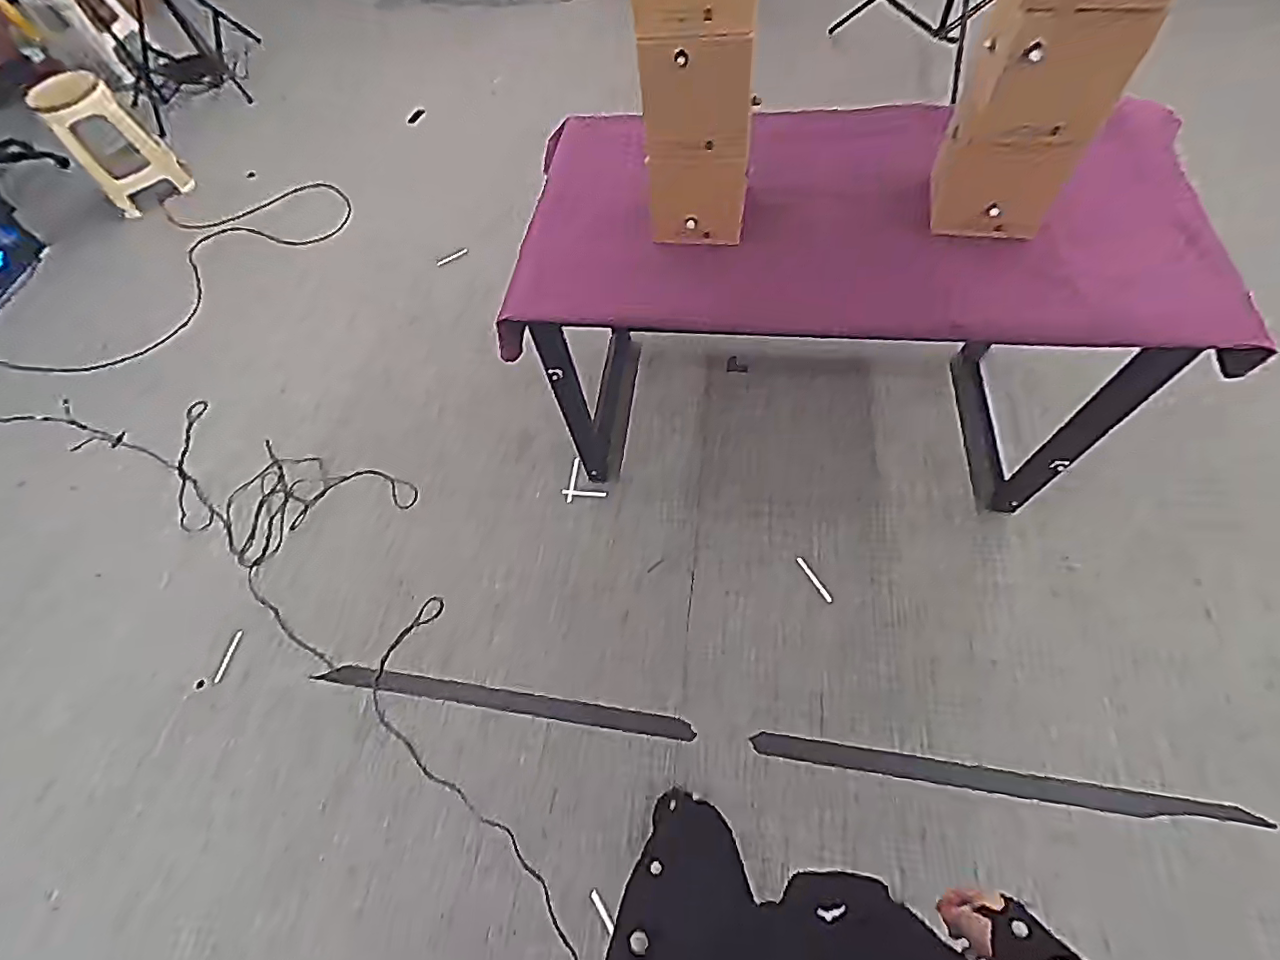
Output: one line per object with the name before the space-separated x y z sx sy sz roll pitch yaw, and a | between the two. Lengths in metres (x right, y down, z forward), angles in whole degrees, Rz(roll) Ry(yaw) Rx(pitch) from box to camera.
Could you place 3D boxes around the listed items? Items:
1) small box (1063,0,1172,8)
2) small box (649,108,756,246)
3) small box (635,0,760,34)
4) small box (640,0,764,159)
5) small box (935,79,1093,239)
small box | 0.577 -0.689 0.630 0.168 0.176 0.179 12 63 12
small box | 0.116 -0.560 0.991 0.168 0.176 0.179 6 64 10
small box | 0.079 -0.716 0.706 0.168 0.176 0.179 4 62 9
small box | 0.100 -0.638 0.848 0.168 0.176 0.179 5 63 10
small box | 0.618 -0.542 0.919 0.168 0.176 0.179 9 64 13
